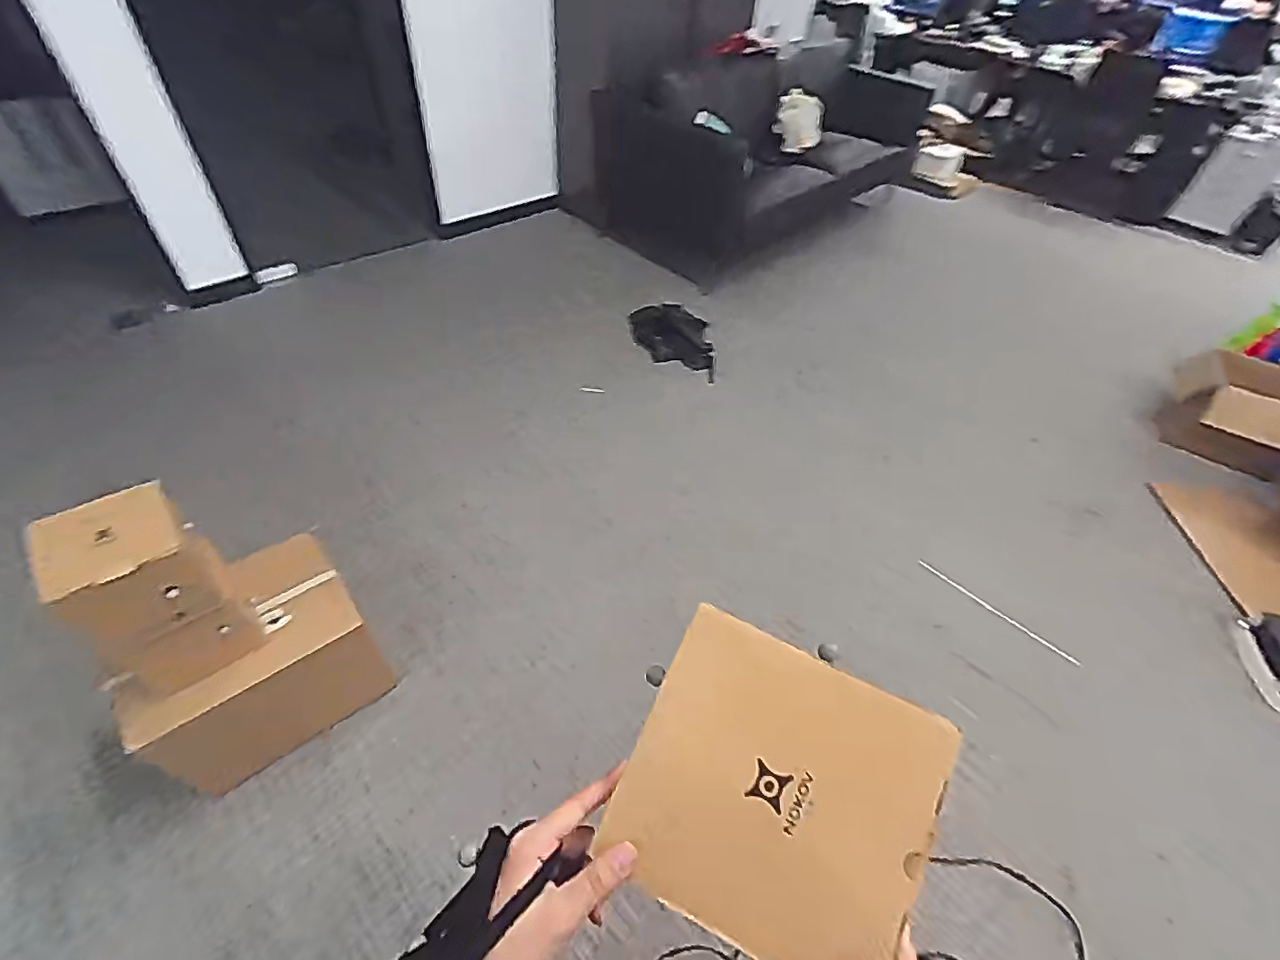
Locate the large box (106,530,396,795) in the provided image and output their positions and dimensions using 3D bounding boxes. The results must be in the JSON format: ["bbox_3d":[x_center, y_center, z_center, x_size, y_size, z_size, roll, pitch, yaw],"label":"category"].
[{"bbox_3d":[-0.828,0.392,1.197,0.408,0.320,0.320,-29,57,-31],"label":"large box"}]

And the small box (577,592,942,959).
[{"bbox_3d":[0.078,0.202,0.400,0.179,0.176,0.168,23,75,10],"label":"small box"}]

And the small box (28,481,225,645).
[{"bbox_3d":[-0.815,0.140,0.873,0.168,0.176,0.179,-29,56,-32],"label":"small box"}]
